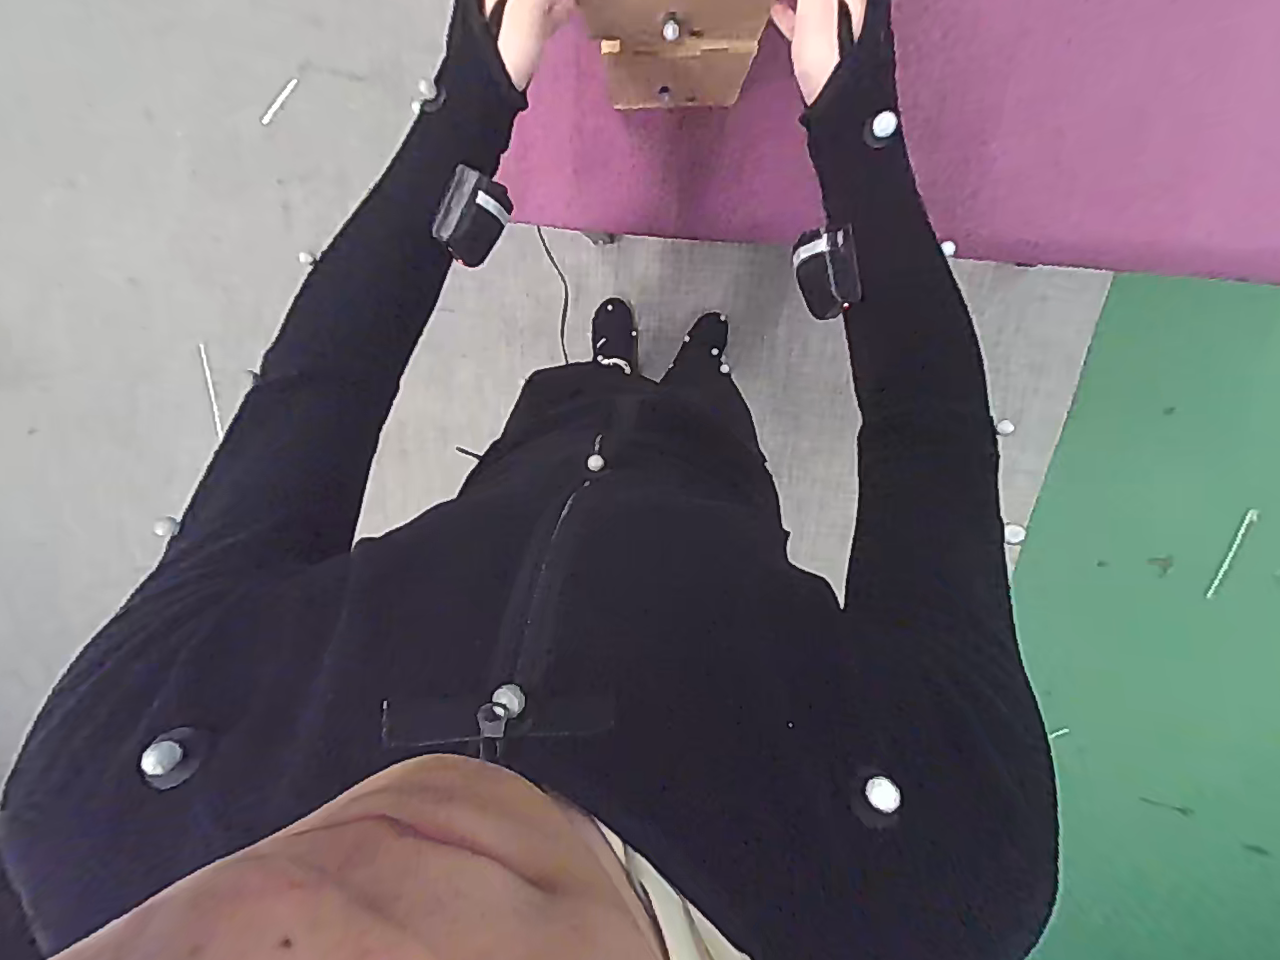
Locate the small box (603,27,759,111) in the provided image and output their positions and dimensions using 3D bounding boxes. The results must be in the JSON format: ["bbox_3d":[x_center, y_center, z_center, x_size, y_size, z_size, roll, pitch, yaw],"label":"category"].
[{"bbox_3d":[0.042,-0.554,0.619,0.168,0.176,0.179,-1,109,2],"label":"small box"}]

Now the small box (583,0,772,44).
[{"bbox_3d":[0.029,-0.472,0.412,0.168,0.176,0.179,2,112,2],"label":"small box"}]
